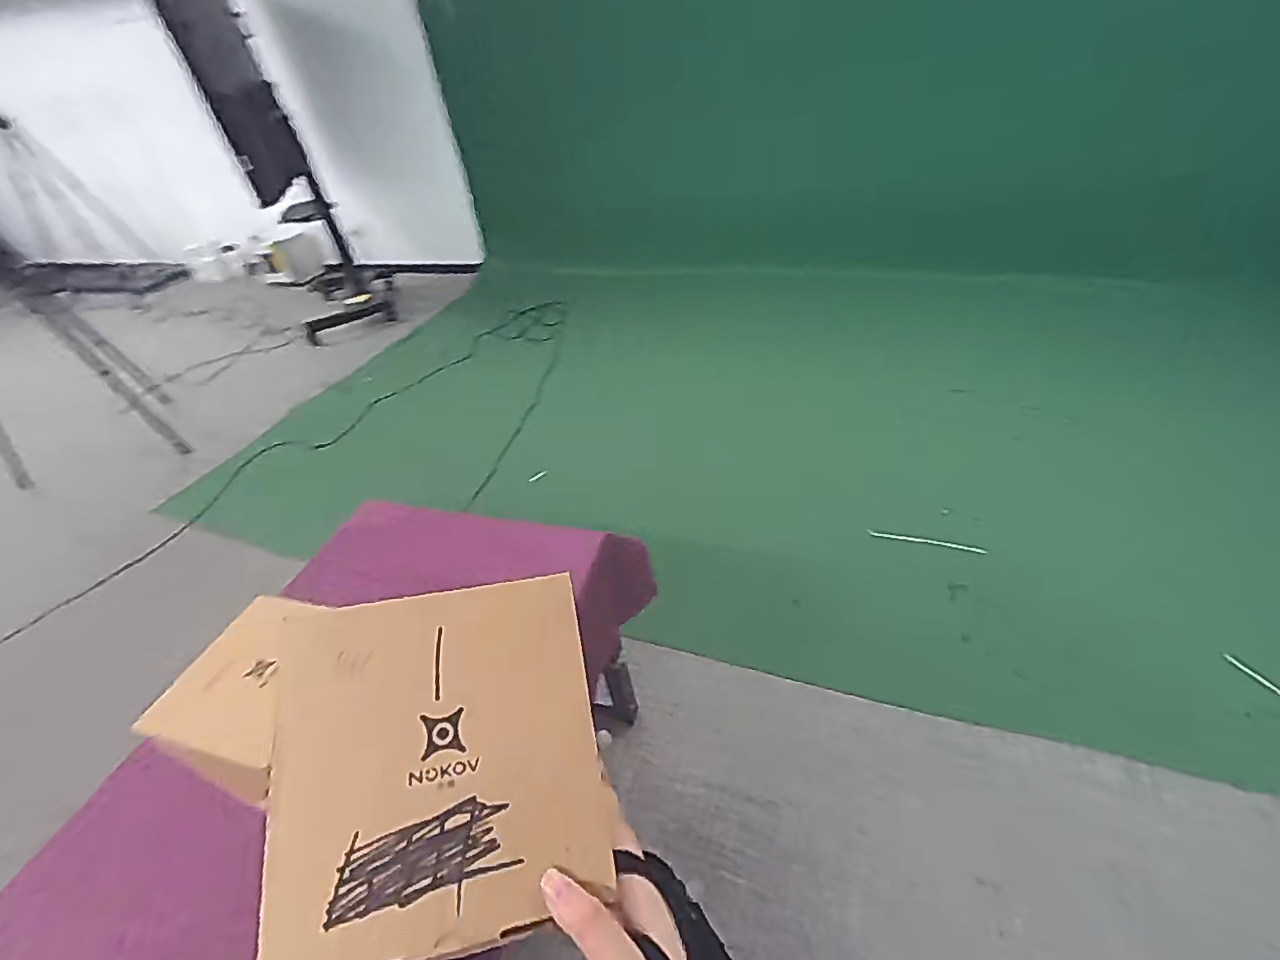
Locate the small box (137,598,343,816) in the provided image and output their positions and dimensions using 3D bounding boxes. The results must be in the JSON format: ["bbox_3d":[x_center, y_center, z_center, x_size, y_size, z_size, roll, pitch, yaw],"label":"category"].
[{"bbox_3d":[-0.374,0.261,0.606,0.179,0.176,0.168,5,41,17],"label":"small box"}]

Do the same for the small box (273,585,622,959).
[{"bbox_3d":[-0.111,0.185,0.362,0.168,0.176,0.179,-5,65,-12],"label":"small box"}]
